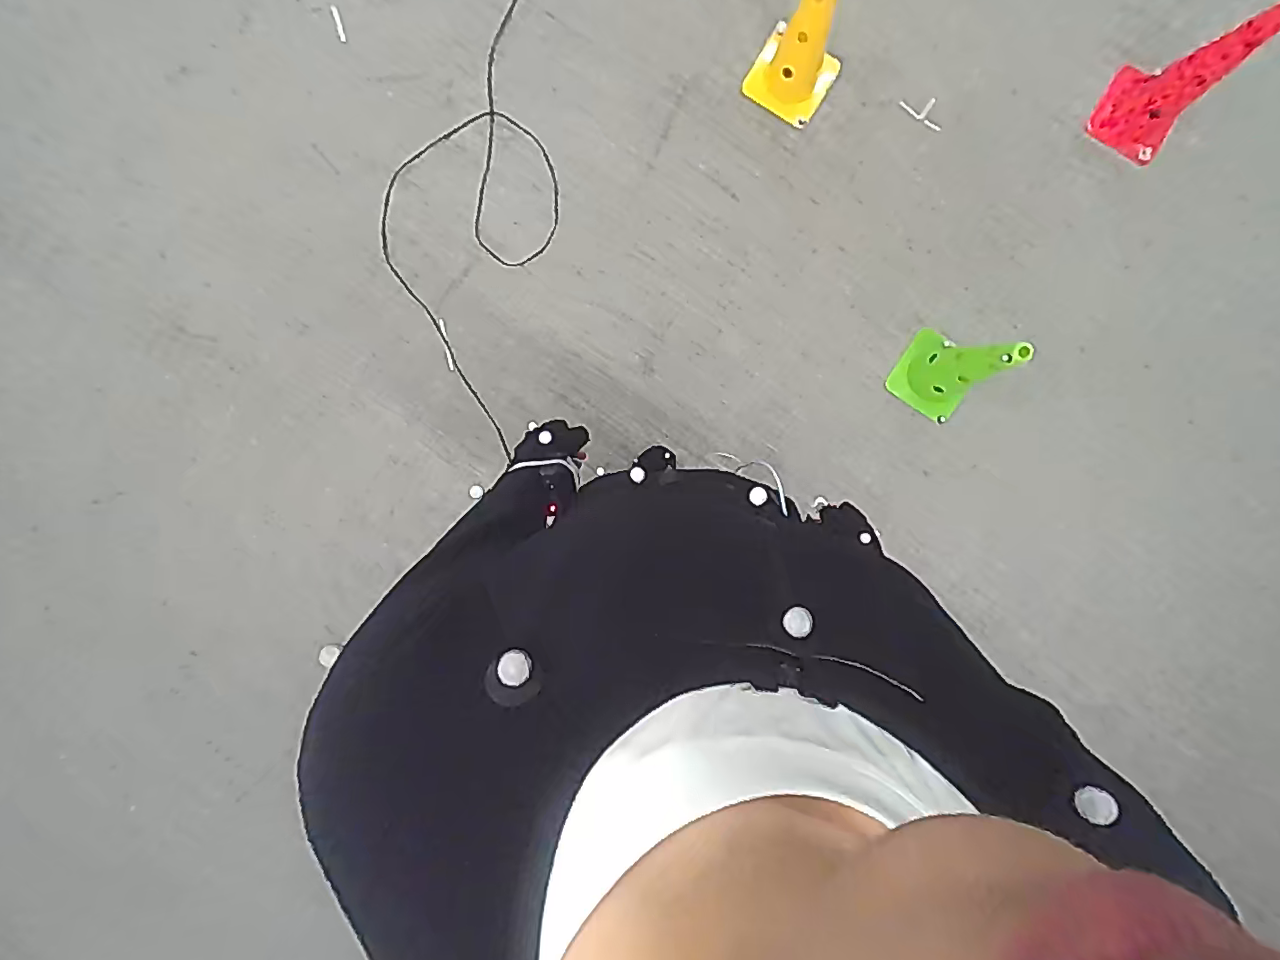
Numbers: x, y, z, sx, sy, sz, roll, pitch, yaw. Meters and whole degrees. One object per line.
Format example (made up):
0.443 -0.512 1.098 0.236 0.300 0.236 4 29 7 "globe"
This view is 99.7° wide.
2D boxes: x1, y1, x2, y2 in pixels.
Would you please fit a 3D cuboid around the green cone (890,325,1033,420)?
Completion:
0.796 -0.284 1.283 0.202 0.368 0.200 33 92 0 "green cone"

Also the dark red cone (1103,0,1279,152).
1.303 -0.960 1.218 0.202 0.394 0.201 29 92 -1 "dark red cone"
